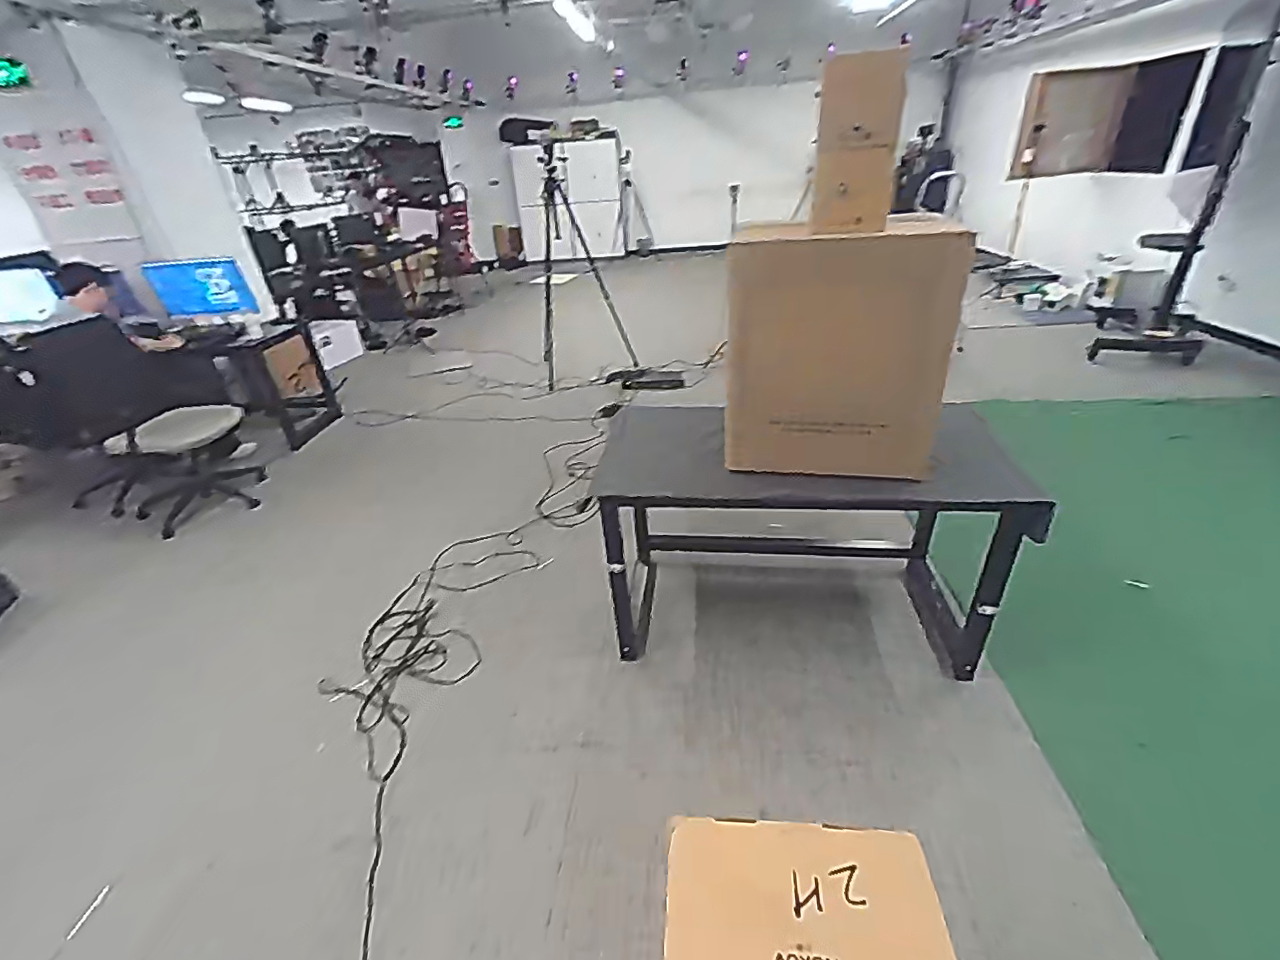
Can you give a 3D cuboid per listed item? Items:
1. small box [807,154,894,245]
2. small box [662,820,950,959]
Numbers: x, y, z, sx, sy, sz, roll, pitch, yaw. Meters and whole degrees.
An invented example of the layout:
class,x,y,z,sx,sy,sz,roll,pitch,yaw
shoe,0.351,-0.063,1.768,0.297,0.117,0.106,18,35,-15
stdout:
class,x,y,z,sx,sy,sz,roll,pitch,yaw
small box,0.483,-0.649,1.259,0.168,0.176,0.179,4,33,14
small box,0.099,0.354,0.339,0.168,0.176,0.179,0,30,7
